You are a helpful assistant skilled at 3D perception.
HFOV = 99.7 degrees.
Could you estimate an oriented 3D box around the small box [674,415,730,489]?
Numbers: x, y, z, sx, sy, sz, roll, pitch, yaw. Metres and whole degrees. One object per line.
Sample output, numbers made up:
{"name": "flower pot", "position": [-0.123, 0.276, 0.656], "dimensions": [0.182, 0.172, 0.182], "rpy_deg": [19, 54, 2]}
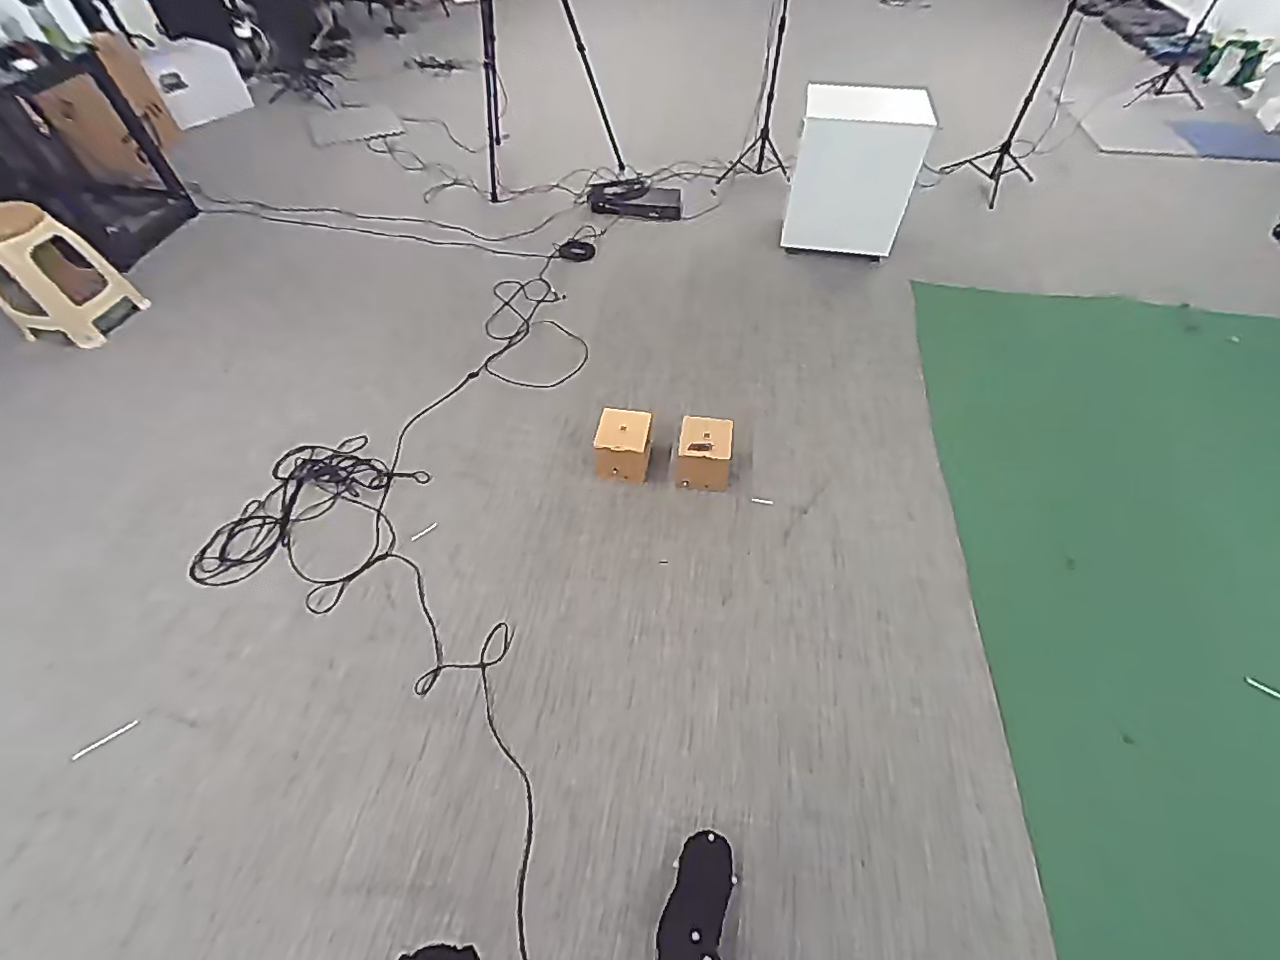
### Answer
{"name": "small box", "position": [0.206, -0.090, 1.803], "dimensions": [0.168, 0.176, 0.179], "rpy_deg": [7, 52, 6]}

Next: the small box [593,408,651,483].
{"name": "small box", "position": [-0.058, -0.117, 1.831], "dimensions": [0.168, 0.176, 0.179], "rpy_deg": [7, 53, 7]}
